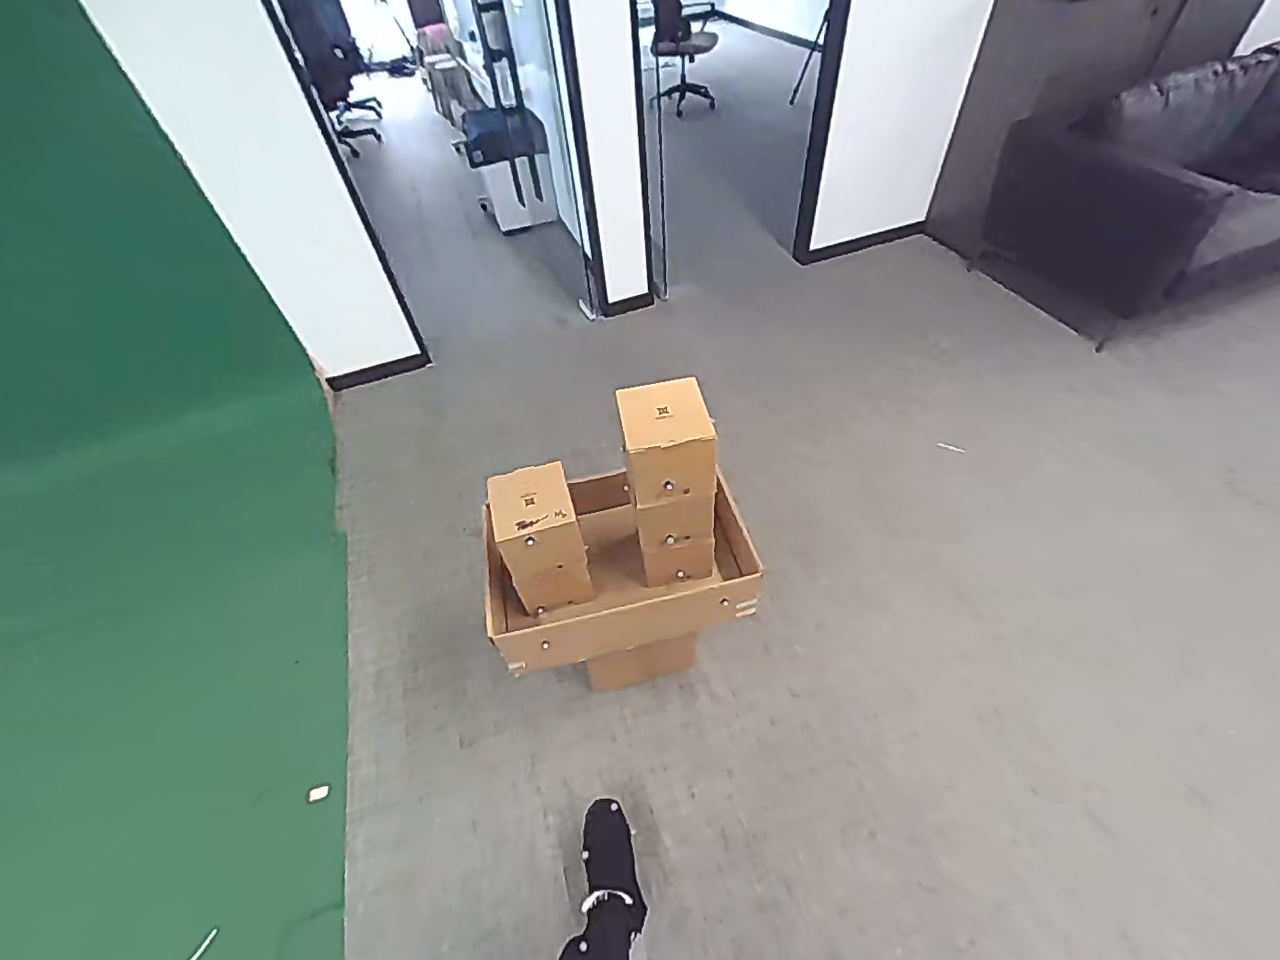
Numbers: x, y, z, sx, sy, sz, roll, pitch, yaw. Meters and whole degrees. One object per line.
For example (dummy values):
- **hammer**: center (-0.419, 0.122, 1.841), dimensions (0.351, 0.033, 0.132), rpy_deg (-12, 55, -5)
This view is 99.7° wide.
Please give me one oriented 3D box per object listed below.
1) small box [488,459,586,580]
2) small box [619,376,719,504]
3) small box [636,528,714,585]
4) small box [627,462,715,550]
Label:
- **small box**: center (-0.221, 0.086, 1.171), dimensions (0.168, 0.176, 0.179), rpy_deg (-15, 50, -7)
- **small box**: center (0.054, -0.078, 1.077), dimensions (0.168, 0.176, 0.179), rpy_deg (-10, 50, -3)
- **small box**: center (0.079, 0.133, 1.323), dimensions (0.168, 0.176, 0.179), rpy_deg (-9, 50, -3)
- **small box**: center (0.064, 0.029, 1.199), dimensions (0.168, 0.176, 0.179), rpy_deg (-10, 50, -3)
